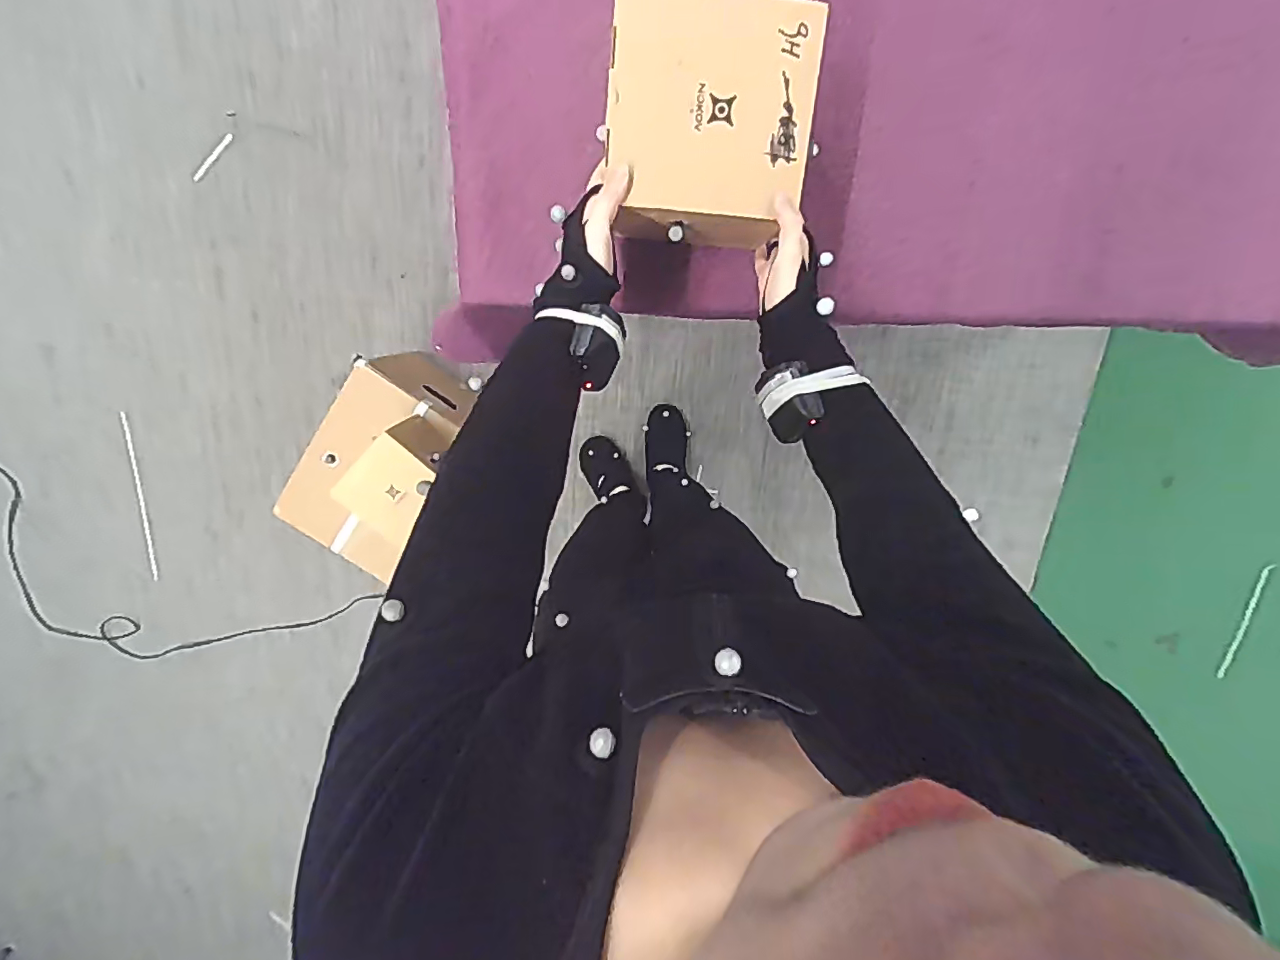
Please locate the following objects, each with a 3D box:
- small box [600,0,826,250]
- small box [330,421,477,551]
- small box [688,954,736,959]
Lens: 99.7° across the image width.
[{"bbox_3d":[0.060,-0.332,0.537,0.179,0.176,0.168,5,106,-1],"label":"small box"},{"bbox_3d":[-0.450,0.001,1.059,0.168,0.176,0.179,-43,106,10],"label":"small box"},{"bbox_3d":[0.209,1.545,1.587,0.179,0.176,0.168,11,105,-5],"label":"small box"}]
